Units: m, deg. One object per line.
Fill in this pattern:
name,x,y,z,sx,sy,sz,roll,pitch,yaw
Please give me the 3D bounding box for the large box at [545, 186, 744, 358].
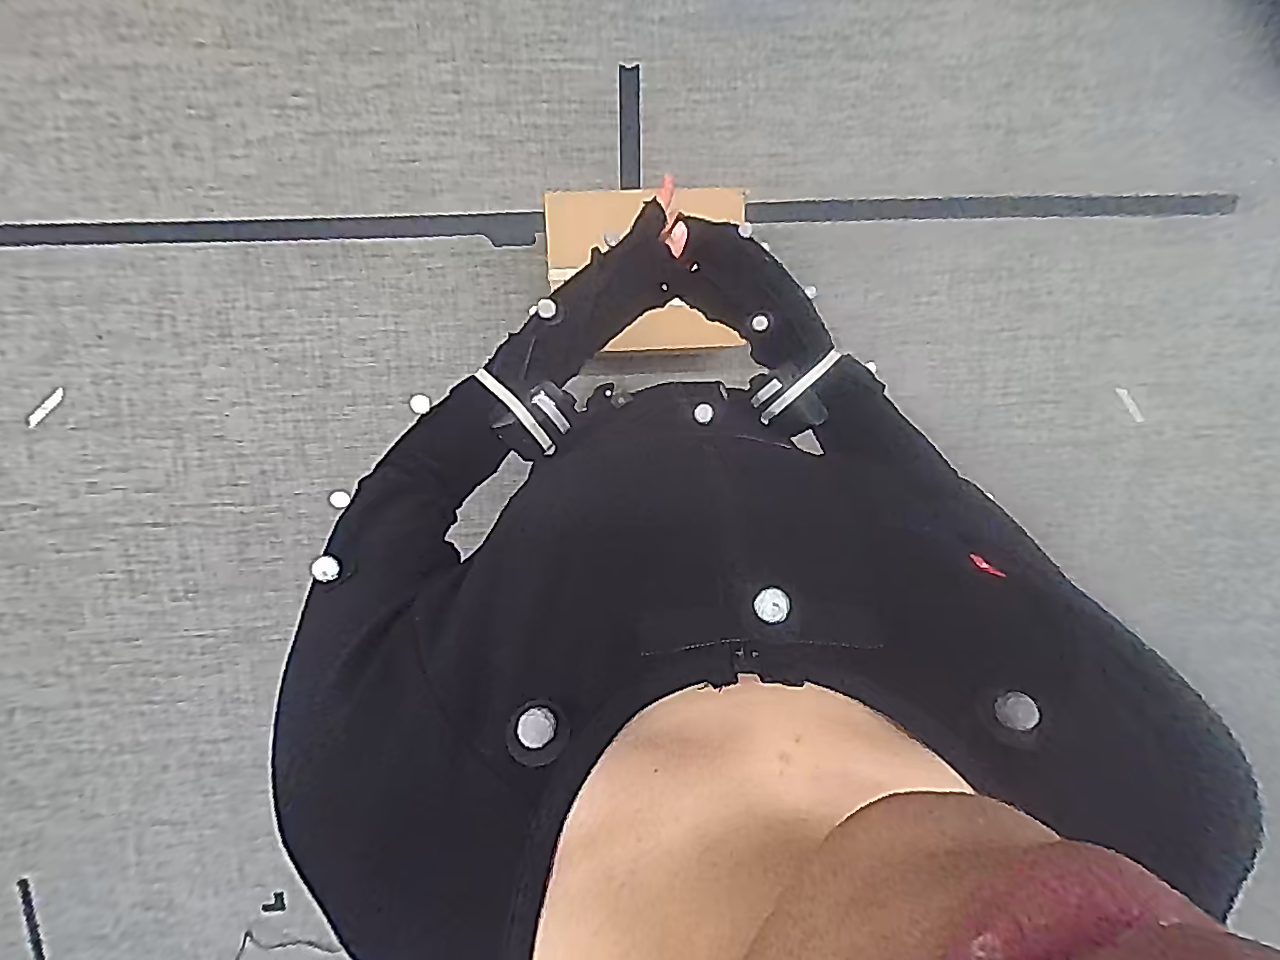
large box,0.005,-0.459,1.259,0.408,0.320,0.320,-3,101,-3
